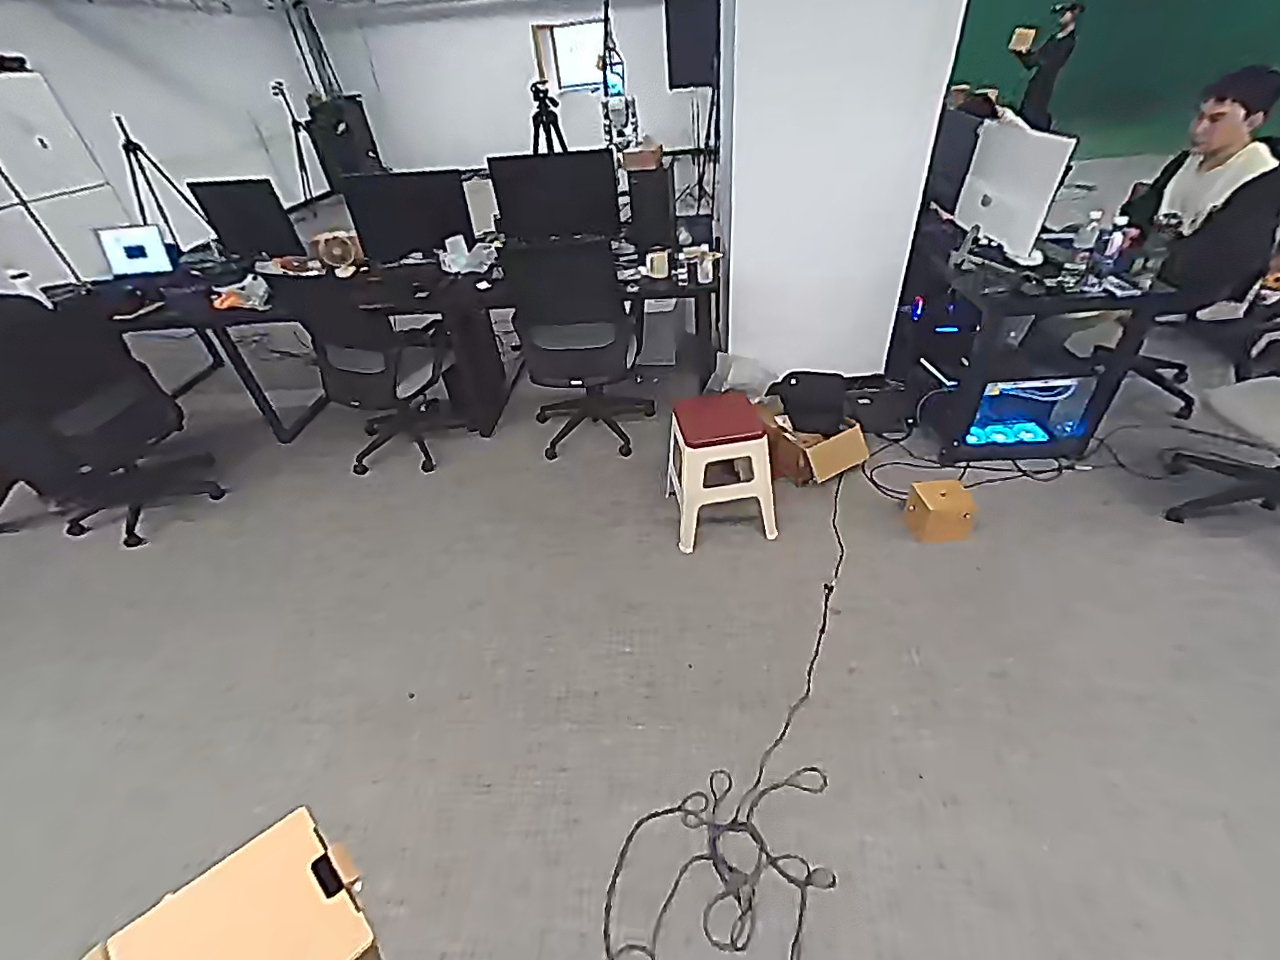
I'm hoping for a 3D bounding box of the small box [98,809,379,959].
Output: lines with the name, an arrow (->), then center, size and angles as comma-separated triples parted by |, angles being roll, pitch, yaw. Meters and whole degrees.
small box -> -0.395, 0.499, 0.560 | 0.168, 0.176, 0.179 | 40, 44, 23
